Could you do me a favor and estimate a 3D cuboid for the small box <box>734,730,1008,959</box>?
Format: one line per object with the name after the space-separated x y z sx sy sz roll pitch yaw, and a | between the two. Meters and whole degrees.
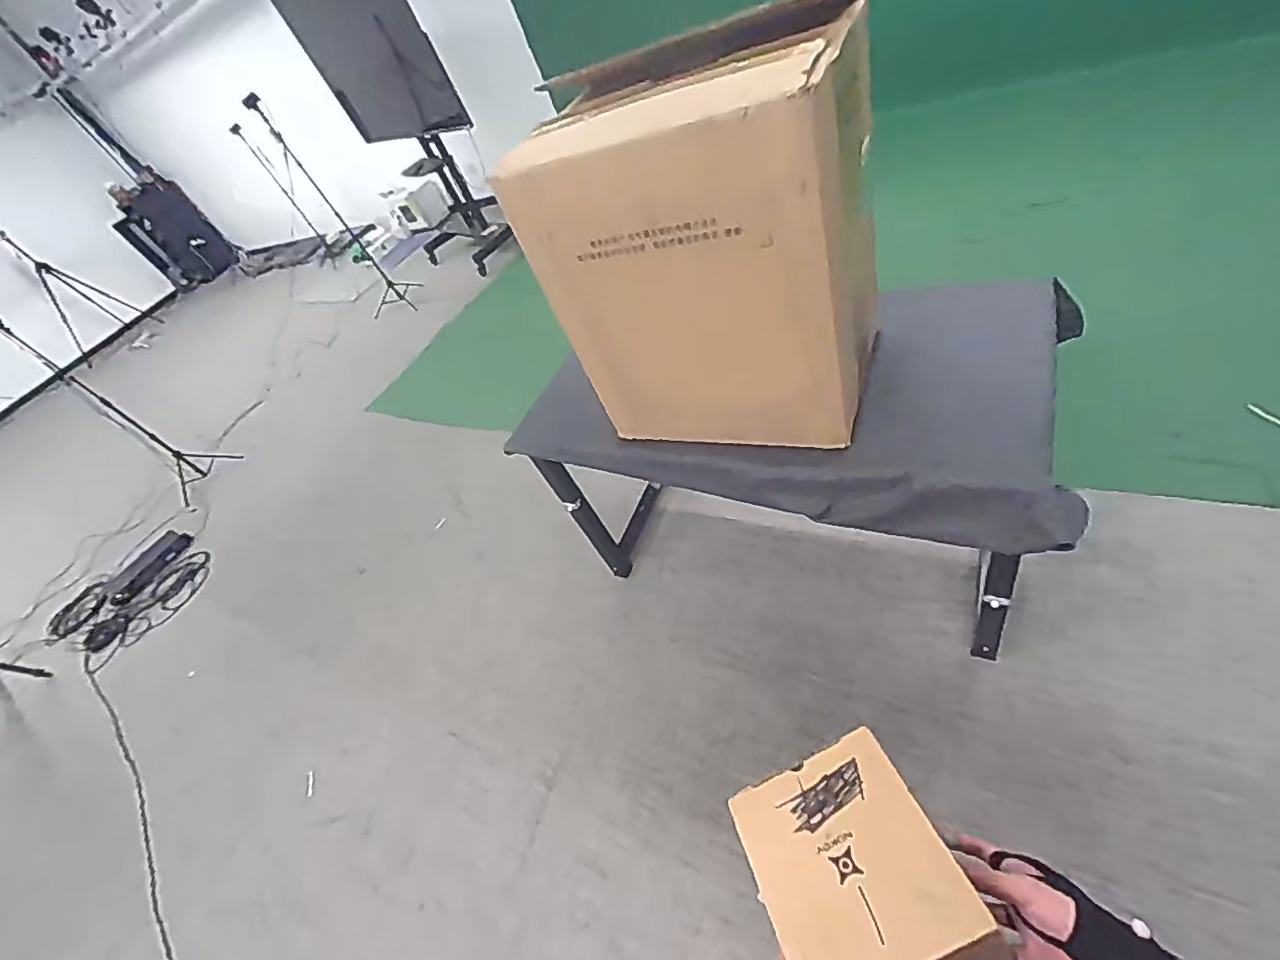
0.220 0.392 0.530 0.168 0.176 0.179 -31 34 4 | small box
